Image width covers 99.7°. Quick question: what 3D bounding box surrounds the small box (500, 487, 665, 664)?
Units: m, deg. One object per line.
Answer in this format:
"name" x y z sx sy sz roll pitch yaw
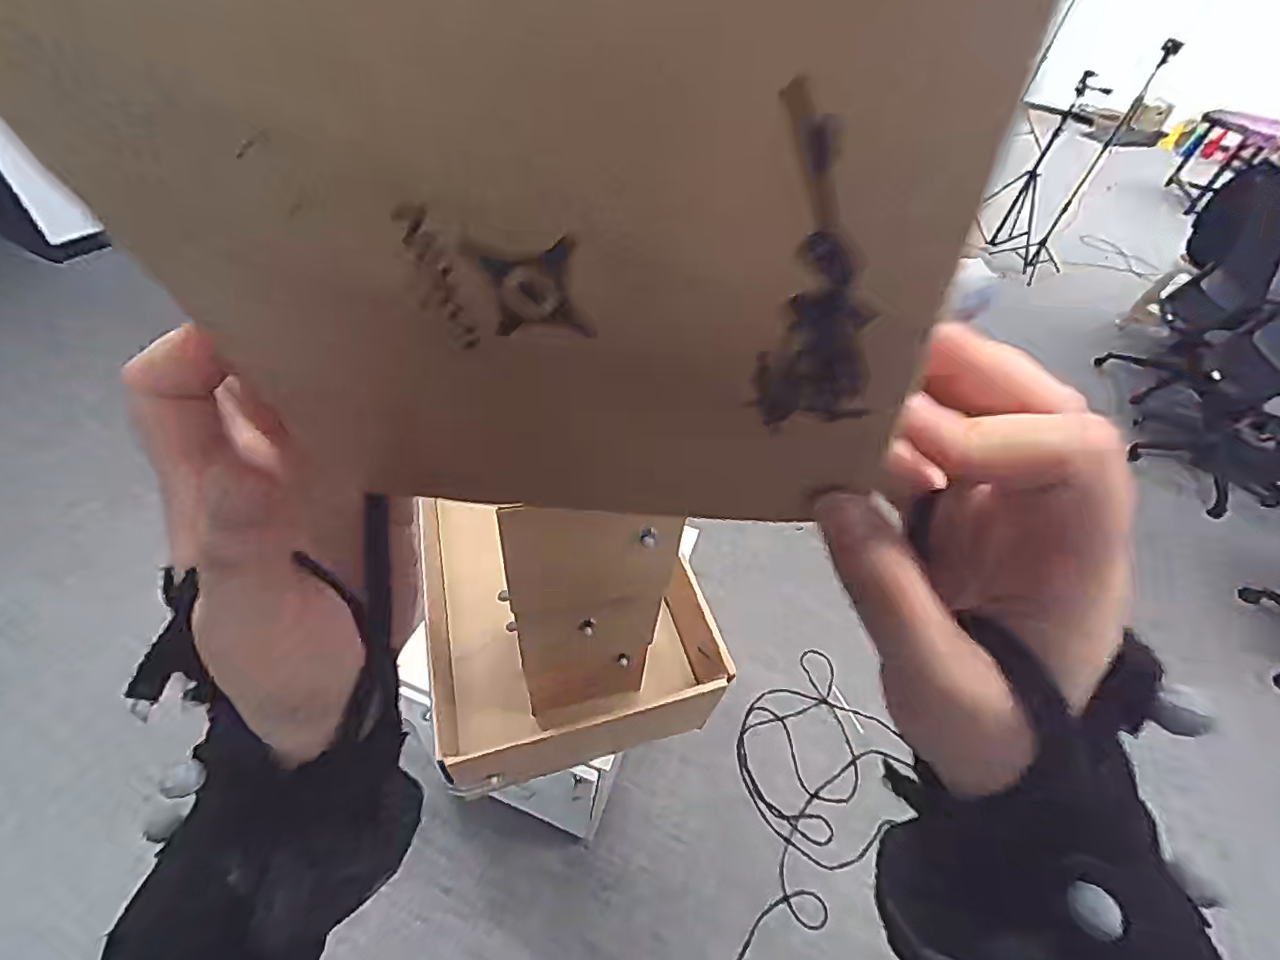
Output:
"small box" -0.081 0.117 0.712 0.179 0.176 0.168 -9 47 -14

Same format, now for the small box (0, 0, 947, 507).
"small box" -0.022 -0.111 0.171 0.179 0.168 0.176 4 56 12
